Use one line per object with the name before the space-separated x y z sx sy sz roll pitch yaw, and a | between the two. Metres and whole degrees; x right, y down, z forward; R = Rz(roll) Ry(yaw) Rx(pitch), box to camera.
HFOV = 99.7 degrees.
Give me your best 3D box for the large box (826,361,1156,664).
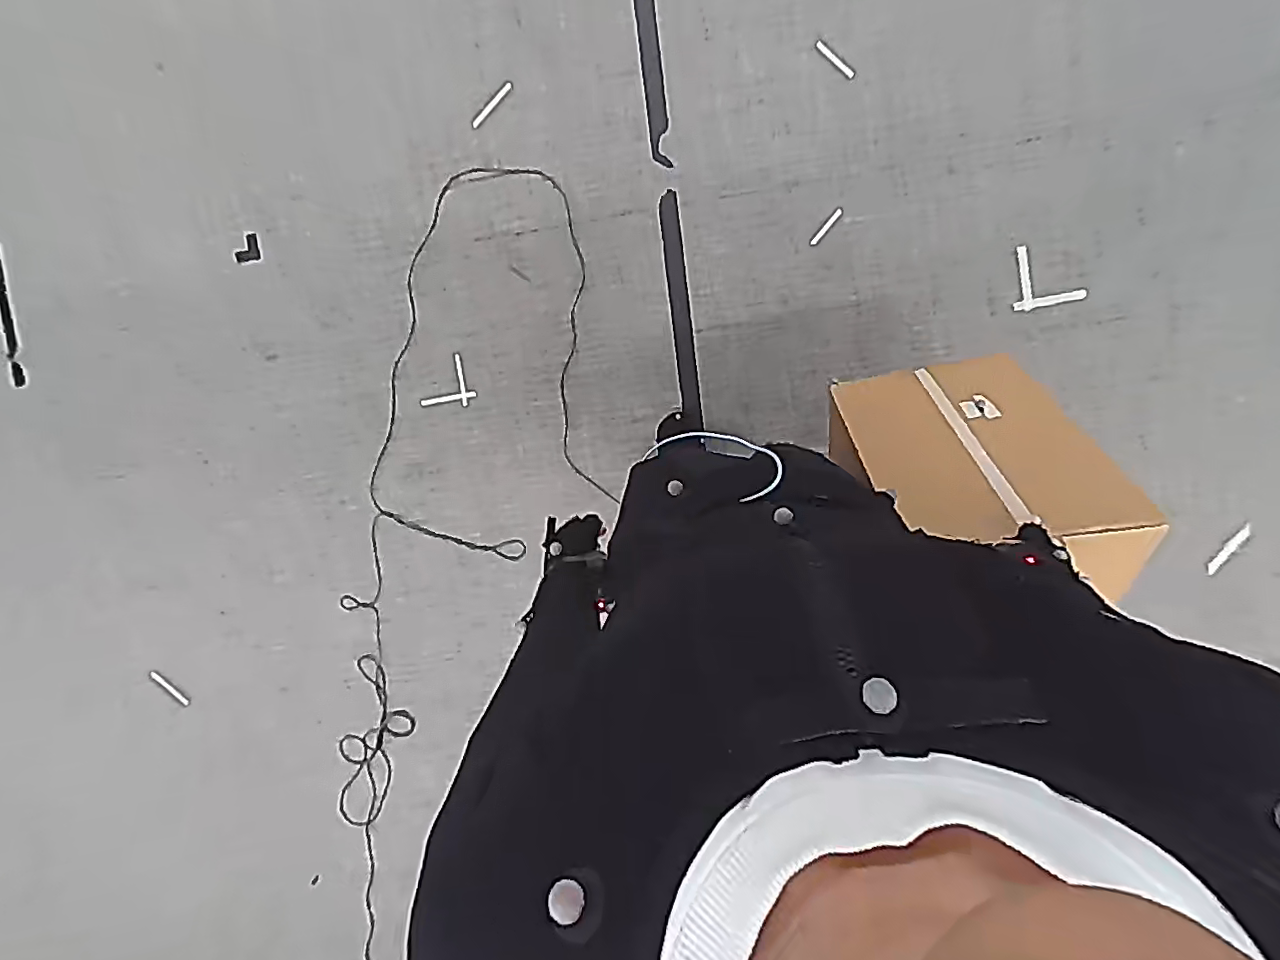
large box | 0.530 0.049 0.937 0.320 0.408 0.320 -8 131 7
